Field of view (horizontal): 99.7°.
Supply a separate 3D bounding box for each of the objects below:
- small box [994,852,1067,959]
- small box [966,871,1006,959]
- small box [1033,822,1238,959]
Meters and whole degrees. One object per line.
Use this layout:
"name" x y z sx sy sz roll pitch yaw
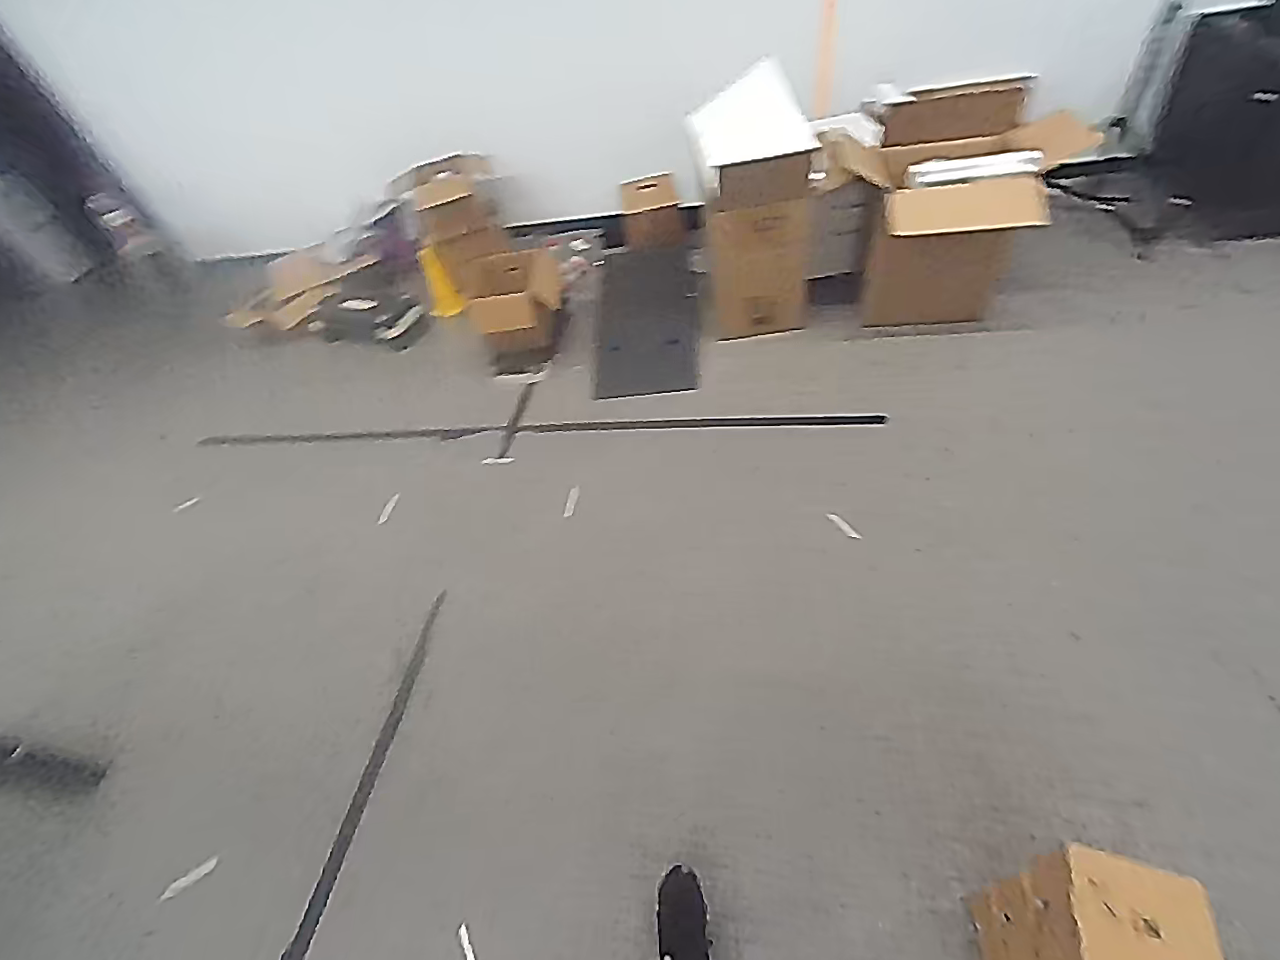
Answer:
"small box" 0.753 0.776 0.942 0.179 0.176 0.168 5 50 16
"small box" 0.771 0.888 1.057 0.179 0.176 0.168 3 50 13
"small box" 0.741 0.657 0.827 0.179 0.176 0.168 10 52 19
